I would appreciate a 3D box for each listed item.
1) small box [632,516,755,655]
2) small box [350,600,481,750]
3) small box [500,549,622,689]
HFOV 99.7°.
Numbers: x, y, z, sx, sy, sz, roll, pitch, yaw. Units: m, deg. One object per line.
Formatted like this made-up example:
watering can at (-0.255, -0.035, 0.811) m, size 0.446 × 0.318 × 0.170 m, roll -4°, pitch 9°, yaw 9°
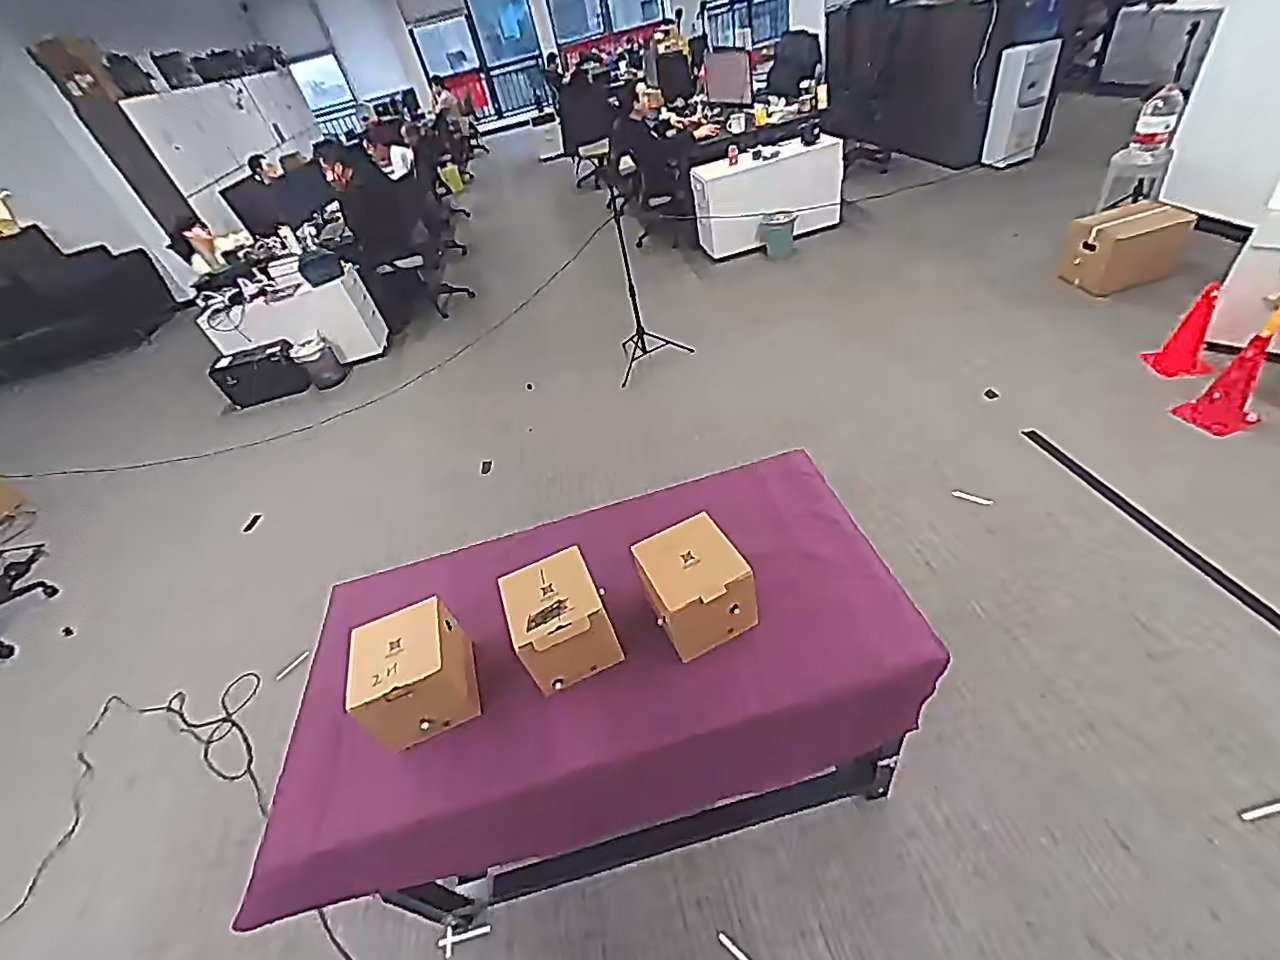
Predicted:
small box at (0.106, 0.207, 1.035) m, size 0.168 × 0.176 × 0.179 m, roll -24°, pitch 41°, yaw -11°
small box at (-0.414, 0.366, 1.015) m, size 0.168 × 0.176 × 0.179 m, roll -22°, pitch 41°, yaw -7°
small box at (-0.148, 0.273, 1.038) m, size 0.168 × 0.176 × 0.179 m, roll -23°, pitch 41°, yaw -9°
